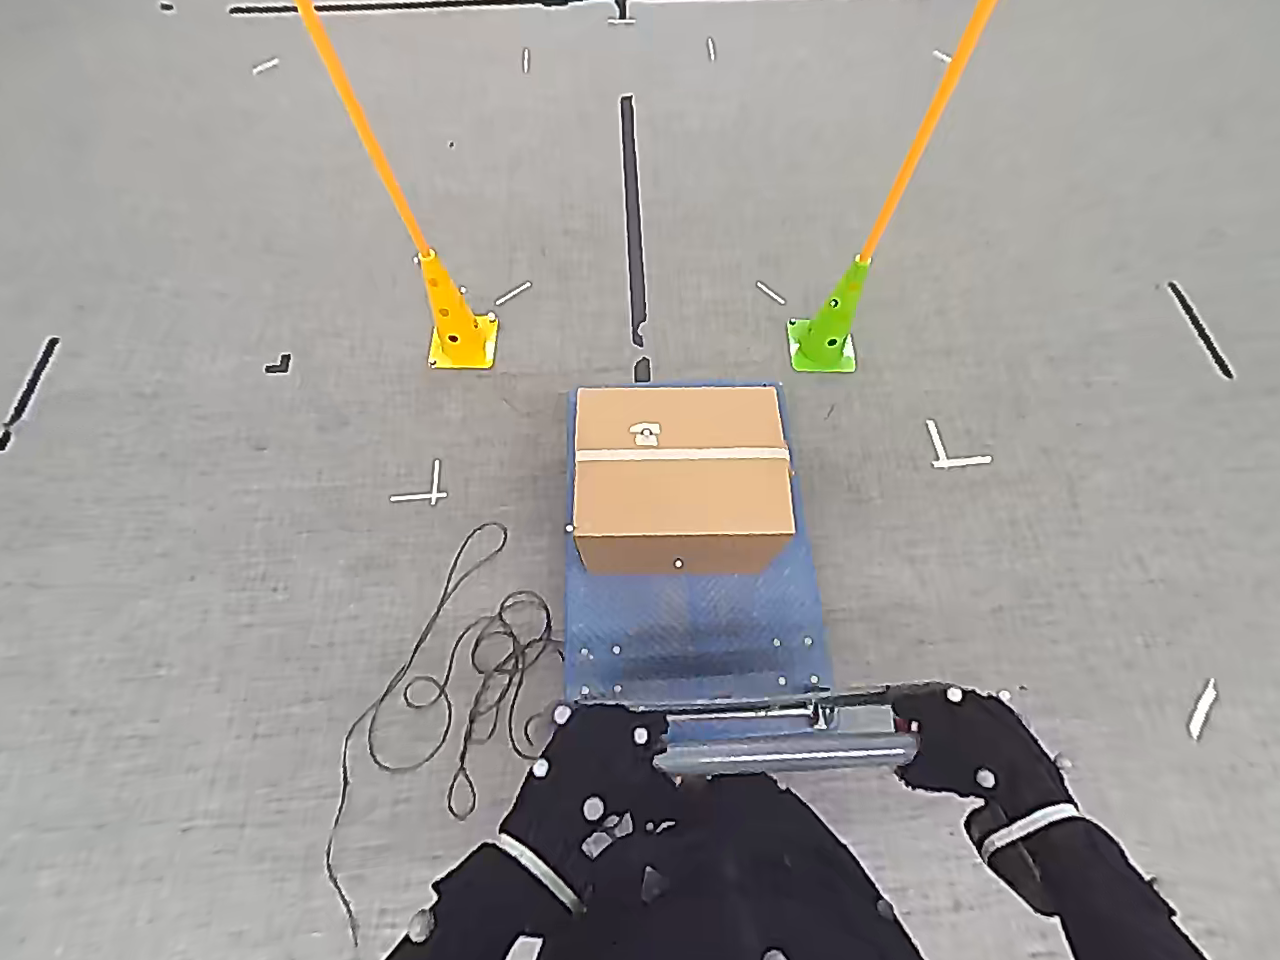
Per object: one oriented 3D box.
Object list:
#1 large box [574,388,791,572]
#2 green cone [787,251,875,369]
[{"bbox_3d":[0.077,0.016,1.177,0.408,0.320,0.320,-1,67,0],"label":"large box"},{"bbox_3d":[0.580,-0.506,1.567,0.202,0.368,0.200,1,67,-1],"label":"green cone"}]
